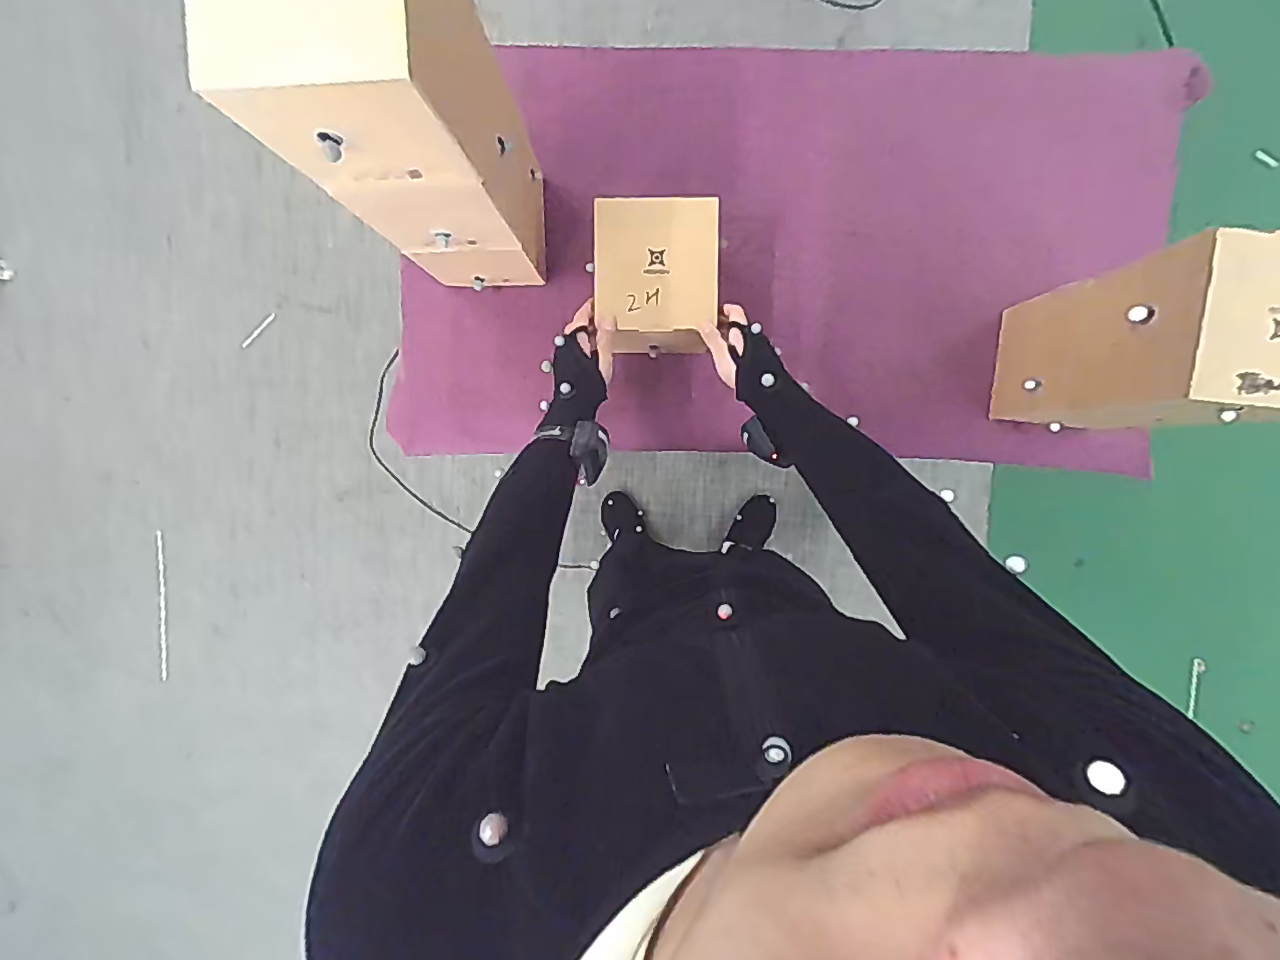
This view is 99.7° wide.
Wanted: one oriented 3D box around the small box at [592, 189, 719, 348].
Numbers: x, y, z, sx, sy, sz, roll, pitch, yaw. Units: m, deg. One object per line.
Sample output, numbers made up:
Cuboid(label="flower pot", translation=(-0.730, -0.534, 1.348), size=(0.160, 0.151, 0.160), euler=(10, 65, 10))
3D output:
Cuboid(label="small box", translation=(0.021, -0.298, 0.791), size=(0.168, 0.176, 0.179), euler=(1, 94, 2))

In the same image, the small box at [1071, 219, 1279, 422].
Cuboid(label="small box", translation=(0.641, -0.167, 0.617), size=(0.168, 0.176, 0.179), euler=(7, 93, 2))

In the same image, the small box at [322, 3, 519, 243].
Cuboid(label="small box", translation=(-0.242, -0.394, 0.626), size=(0.168, 0.176, 0.179), euler=(-1, 95, 2))

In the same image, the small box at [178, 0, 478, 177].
Cuboid(label="small box", translation=(-0.247, -0.383, 0.465), size=(0.168, 0.176, 0.179), euler=(-1, 94, 3))

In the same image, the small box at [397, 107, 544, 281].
Cuboid(label="small box", translation=(-0.239, -0.405, 0.789), size=(0.168, 0.176, 0.179), euler=(0, 95, 2))
